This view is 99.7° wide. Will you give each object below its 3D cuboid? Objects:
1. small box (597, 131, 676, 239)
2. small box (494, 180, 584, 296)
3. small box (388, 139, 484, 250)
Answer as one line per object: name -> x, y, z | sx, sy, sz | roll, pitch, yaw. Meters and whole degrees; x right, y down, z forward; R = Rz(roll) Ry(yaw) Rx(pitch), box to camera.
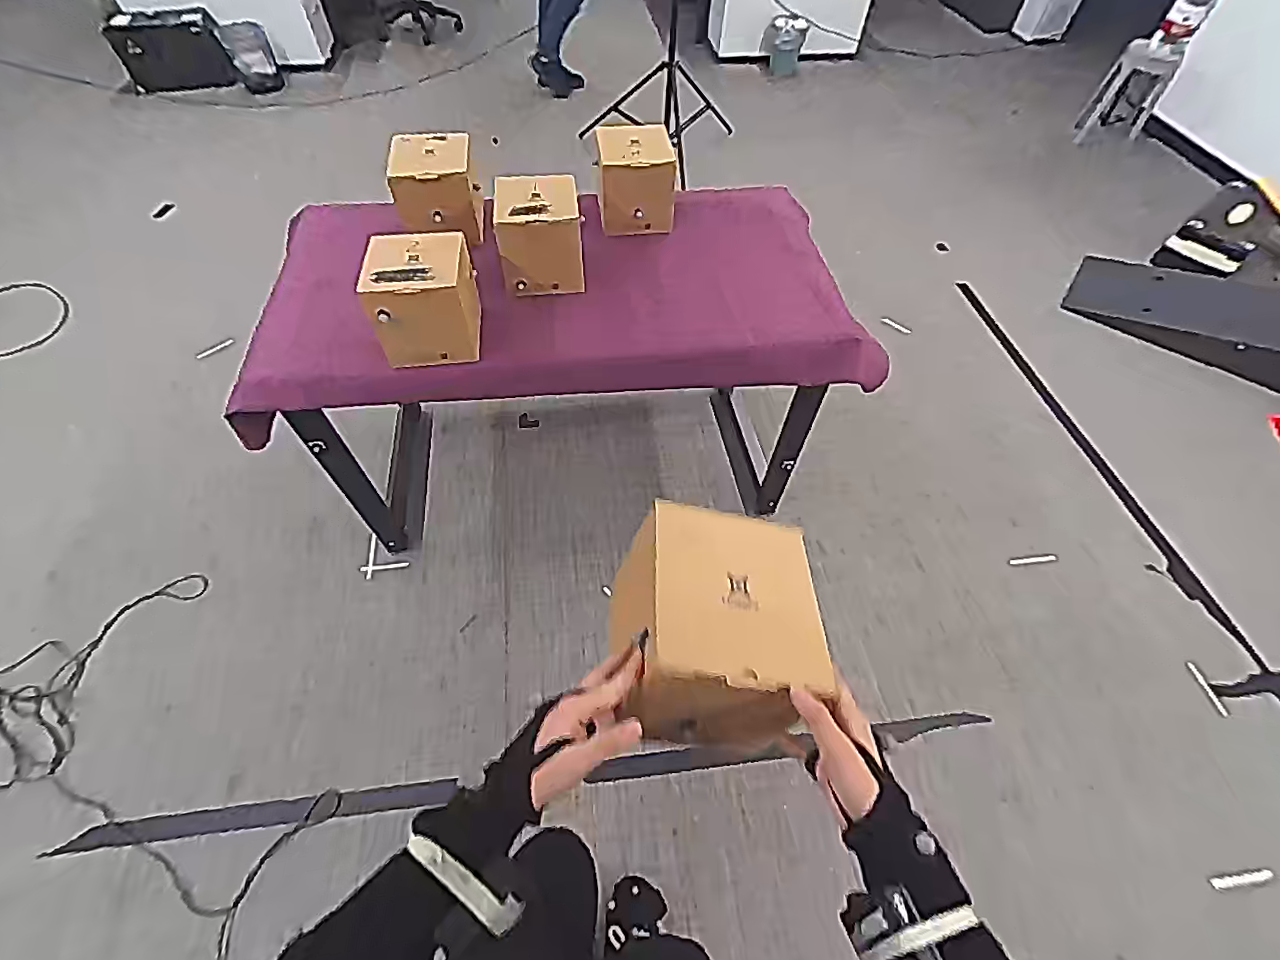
small box -> -0.013, -0.700, 1.286 | 0.168, 0.176, 0.179 | -6, 57, -5
small box -> -0.209, -0.507, 1.150 | 0.168, 0.176, 0.179 | -5, 55, -5
small box -> -0.455, -0.644, 1.234 | 0.168, 0.176, 0.179 | -6, 58, -6
